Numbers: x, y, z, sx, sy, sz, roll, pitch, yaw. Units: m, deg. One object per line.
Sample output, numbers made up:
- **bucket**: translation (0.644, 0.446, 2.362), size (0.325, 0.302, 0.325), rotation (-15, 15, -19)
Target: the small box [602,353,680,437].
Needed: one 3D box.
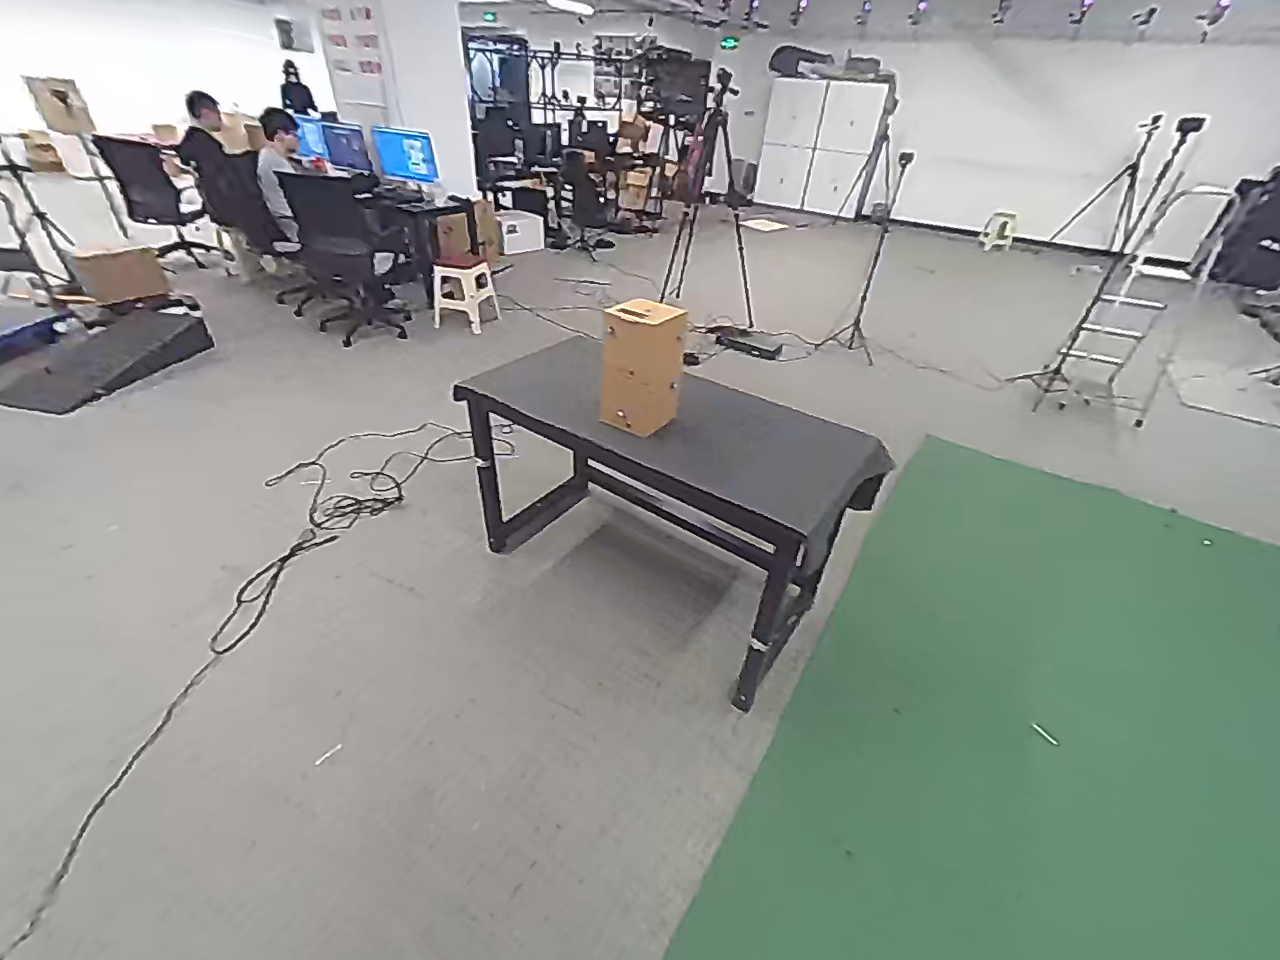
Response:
- **small box**: translation (-0.004, -0.252, 1.602), size (0.168, 0.176, 0.179), rotation (24, 39, 26)
